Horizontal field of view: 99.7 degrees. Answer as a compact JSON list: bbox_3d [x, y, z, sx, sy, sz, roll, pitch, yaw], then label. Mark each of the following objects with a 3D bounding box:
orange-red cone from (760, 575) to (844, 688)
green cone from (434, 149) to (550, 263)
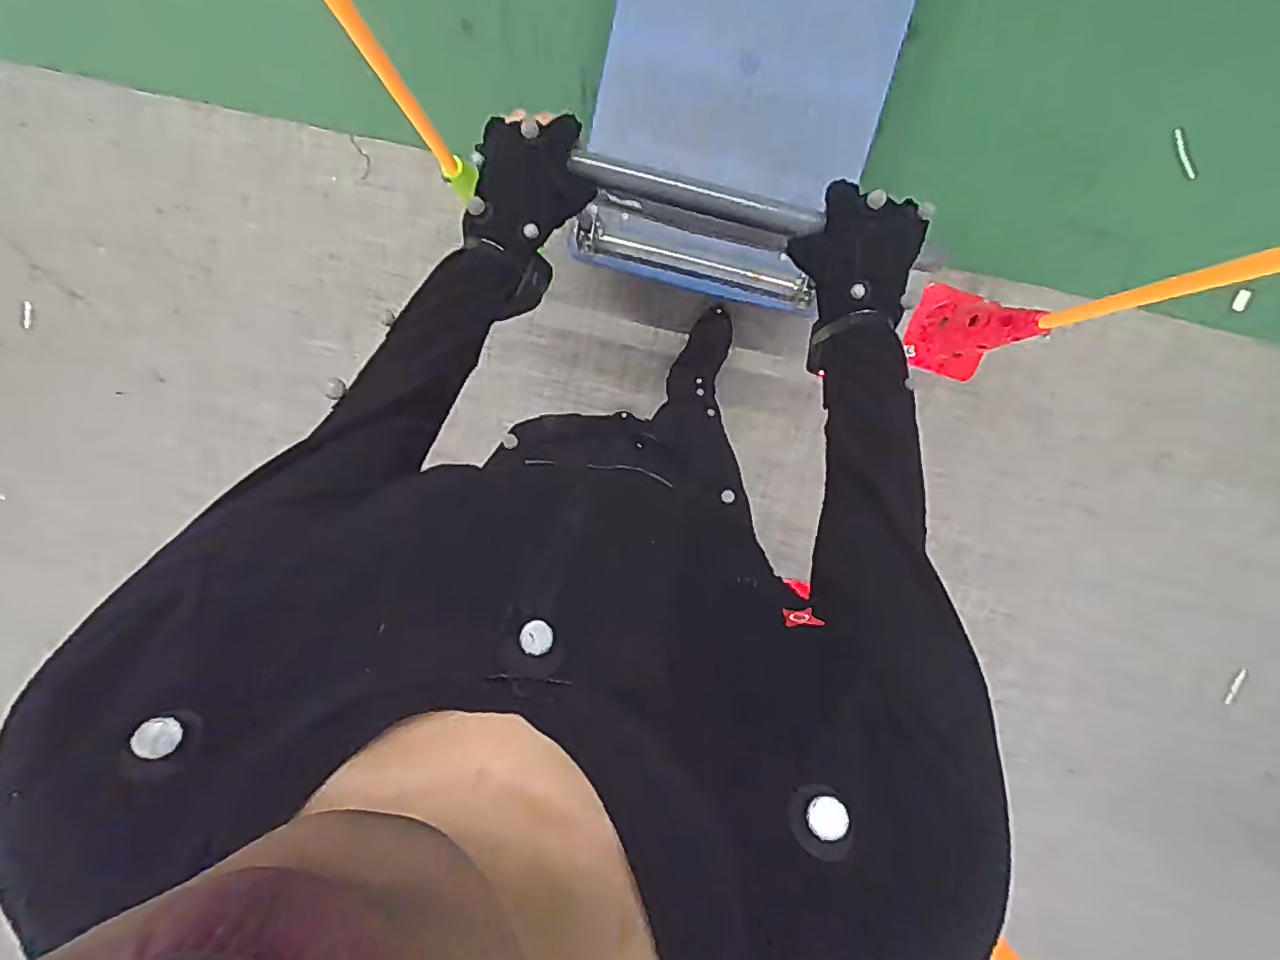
[{"bbox_3d":[0.442,0.410,1.362,0.199,0.360,0.198,13,102,2],"label":"orange-red cone"},{"bbox_3d":[-0.347,-0.631,1.176,0.202,0.368,0.200,18,102,0],"label":"green cone"}]
